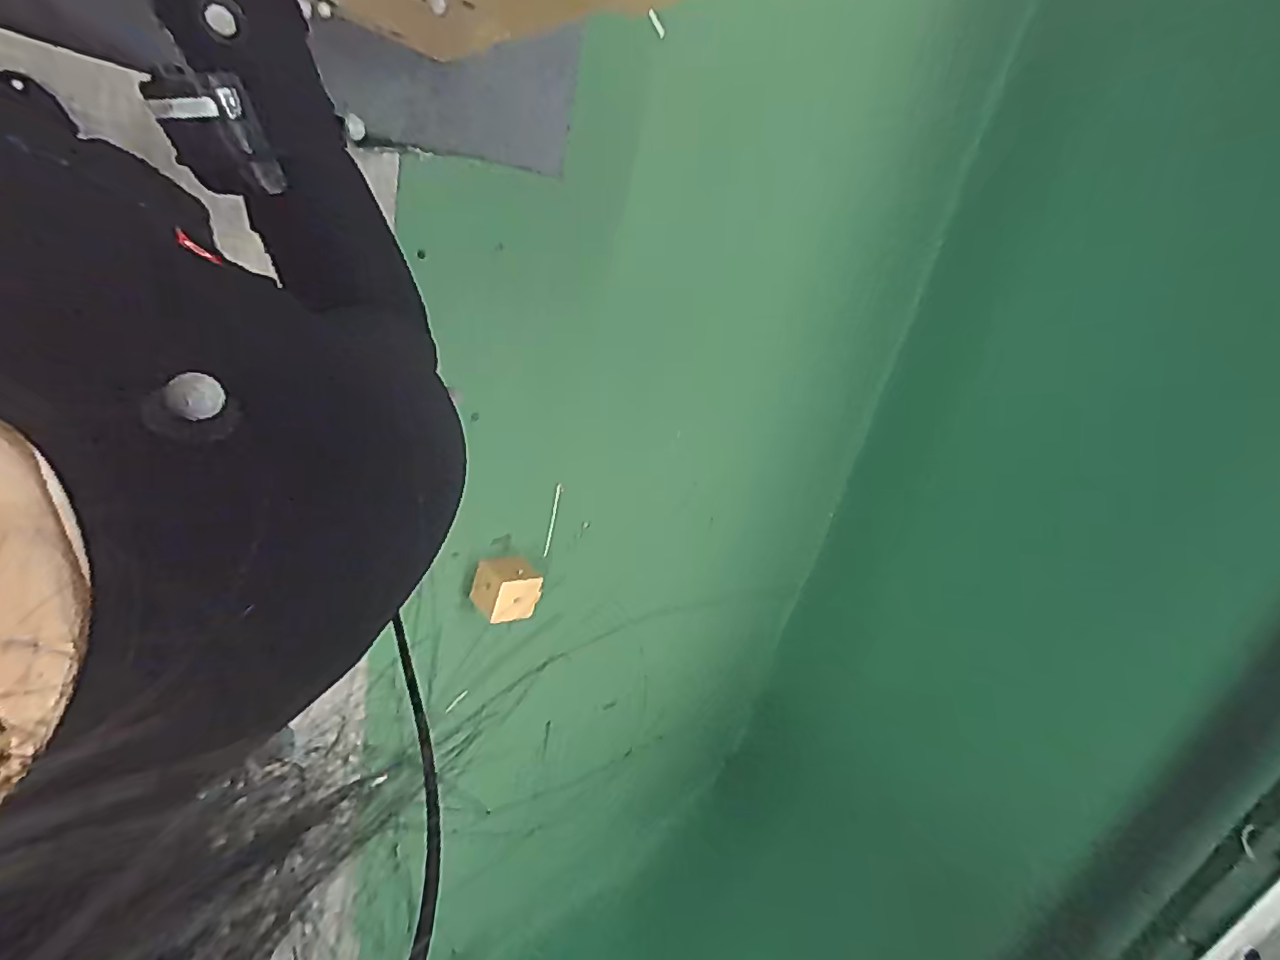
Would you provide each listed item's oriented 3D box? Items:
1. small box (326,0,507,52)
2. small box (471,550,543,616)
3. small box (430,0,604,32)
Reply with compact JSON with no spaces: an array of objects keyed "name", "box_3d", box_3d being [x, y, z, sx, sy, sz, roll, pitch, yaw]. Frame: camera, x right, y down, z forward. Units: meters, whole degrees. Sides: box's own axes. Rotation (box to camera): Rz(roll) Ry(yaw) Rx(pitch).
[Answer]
[{"name":"small box","box_3d":[-0.220,-0.532,0.493,0.168,0.176,0.179,-7,116,-43]},{"name":"small box","box_3d":[-0.488,0.369,1.962,0.179,0.176,0.168,2,113,-47]},{"name":"small box","box_3d":[-0.116,-0.466,0.387,0.168,0.176,0.179,-10,120,-41]}]
